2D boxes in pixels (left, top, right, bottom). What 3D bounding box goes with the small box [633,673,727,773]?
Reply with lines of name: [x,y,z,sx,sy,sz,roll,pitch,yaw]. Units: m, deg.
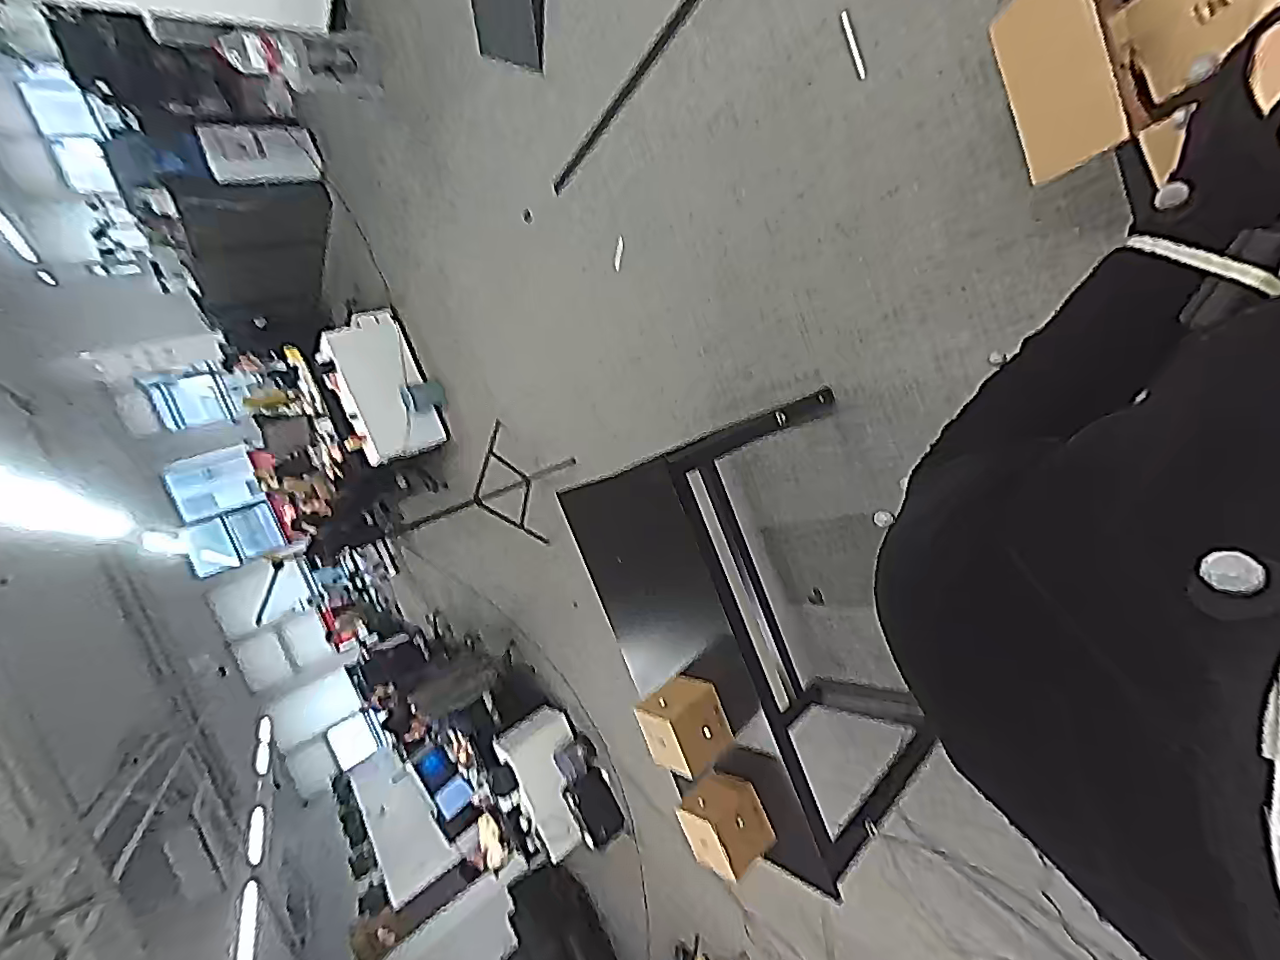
small box: [0.116,0.651,1.476,0.179,0.176,0.168,-13,99,56]

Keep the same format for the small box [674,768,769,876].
small box: [0.233,0.935,1.500,0.179,0.176,0.168,-24,89,57]
